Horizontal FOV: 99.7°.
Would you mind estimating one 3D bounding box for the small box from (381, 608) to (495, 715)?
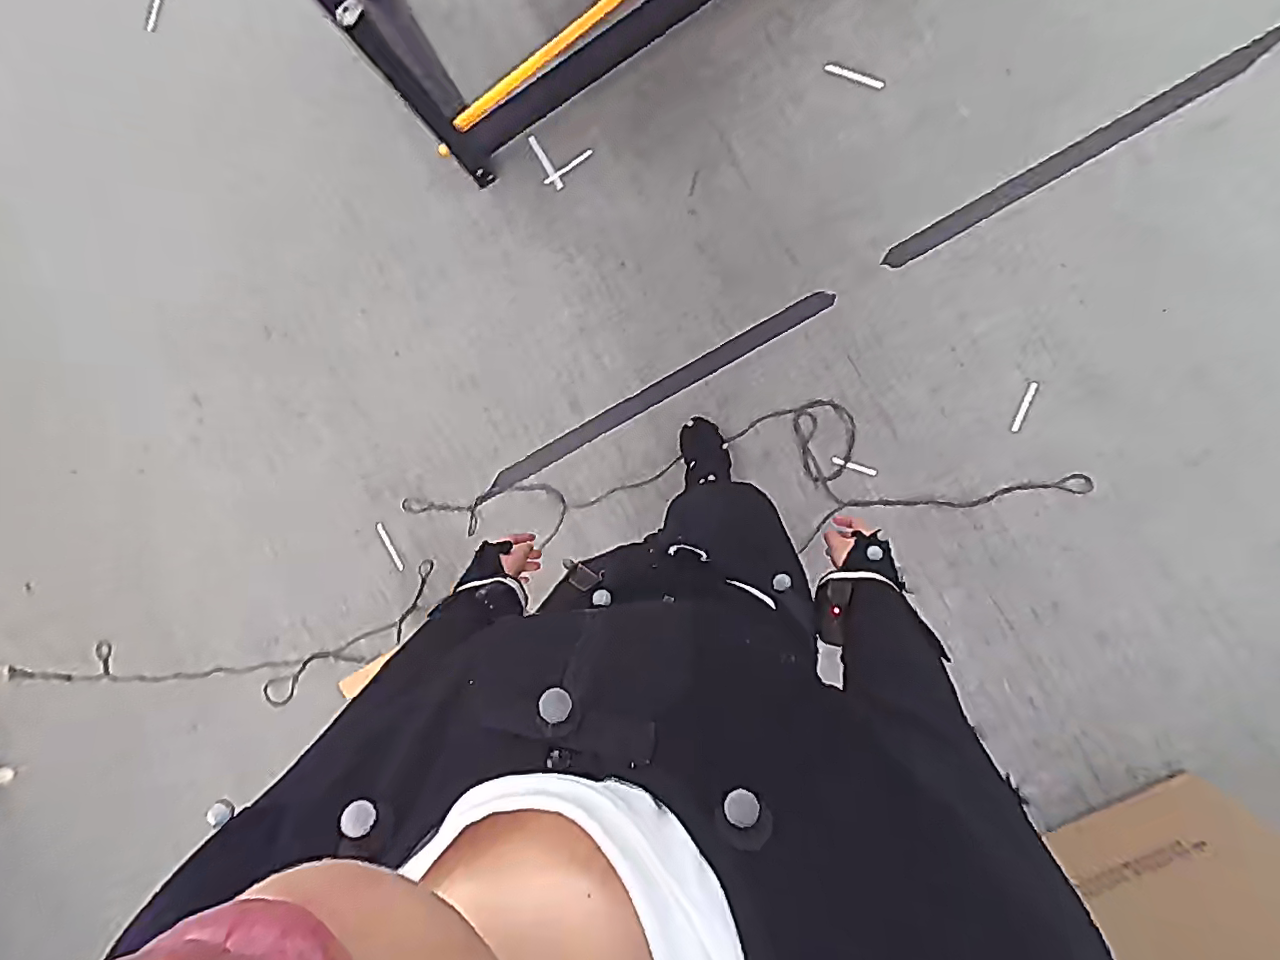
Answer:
[{"bbox_3d":[-0.499,0.448,1.358,0.179,0.176,0.168,-31,89,6],"label":"small box"}]
